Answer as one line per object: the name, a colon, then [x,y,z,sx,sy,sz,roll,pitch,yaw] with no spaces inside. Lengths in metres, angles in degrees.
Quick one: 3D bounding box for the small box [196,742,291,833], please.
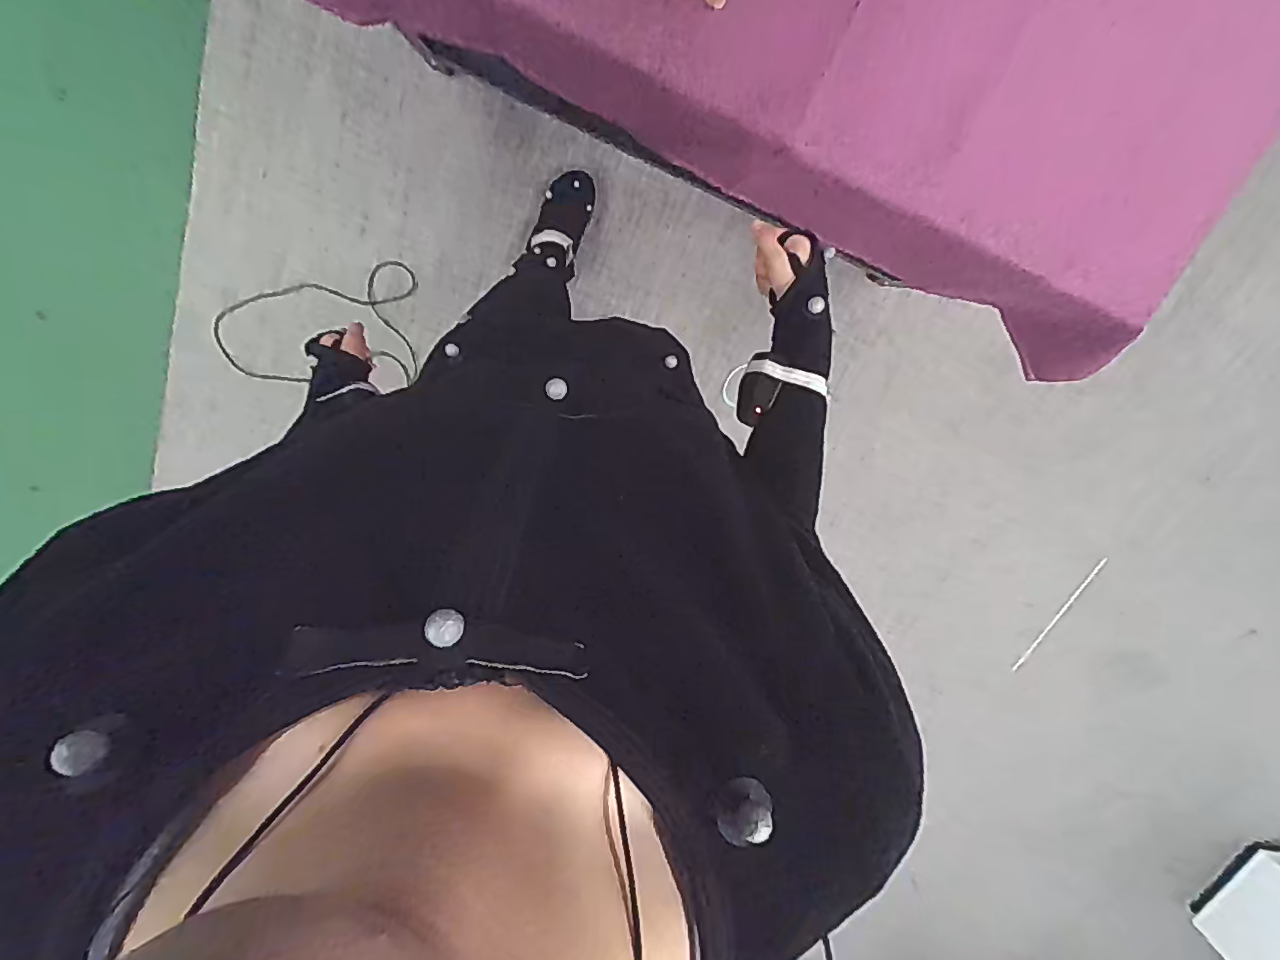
small box: [-1.224,0.951,1.680,0.179,0.176,0.168,20,107,-12]
